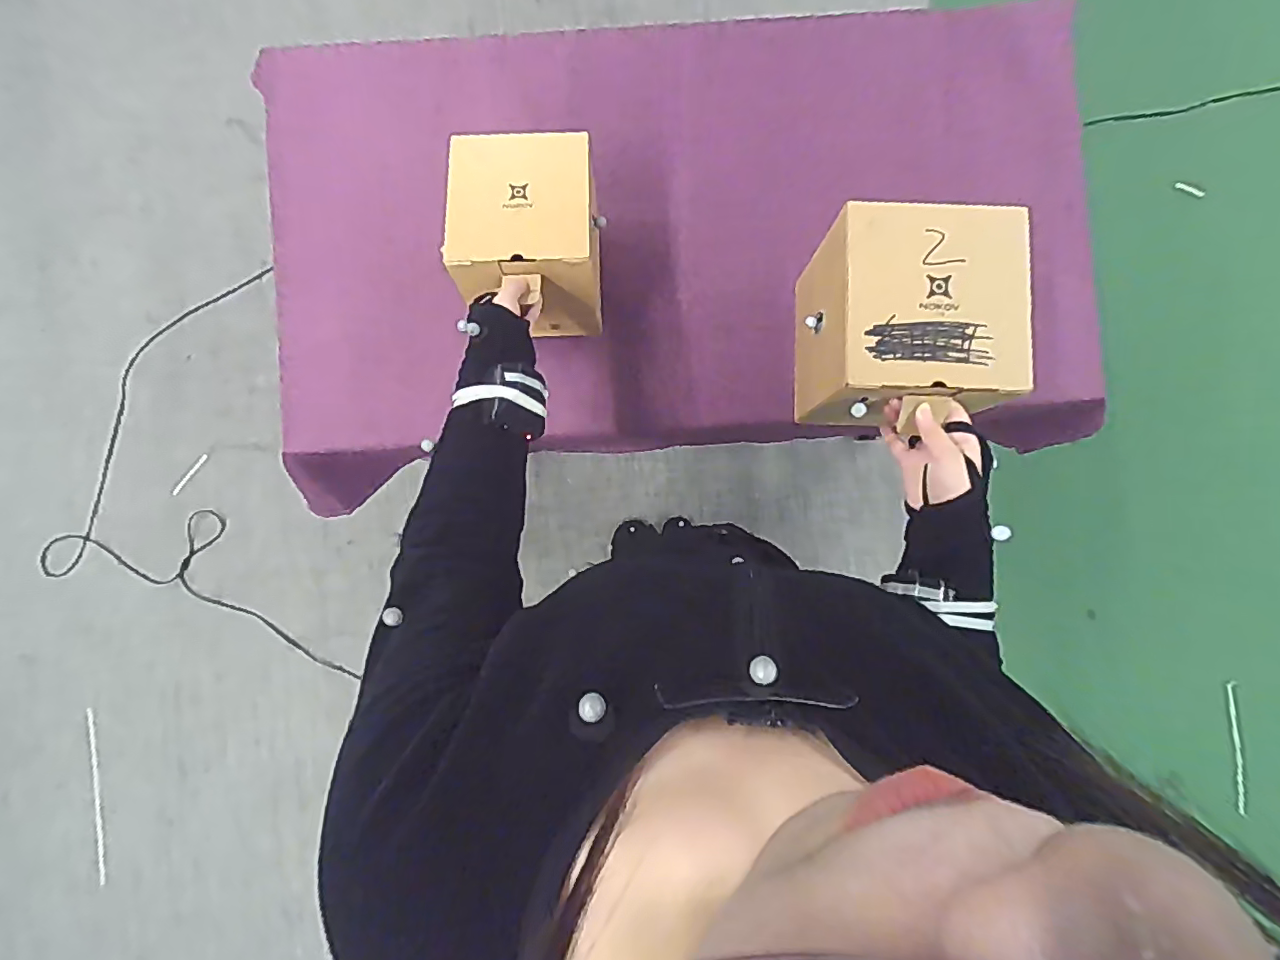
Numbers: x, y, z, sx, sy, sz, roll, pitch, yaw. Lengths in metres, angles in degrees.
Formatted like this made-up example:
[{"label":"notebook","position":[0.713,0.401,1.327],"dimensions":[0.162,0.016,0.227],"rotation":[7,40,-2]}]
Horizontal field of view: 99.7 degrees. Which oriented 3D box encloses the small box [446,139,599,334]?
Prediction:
[{"label":"small box","position":[-0.143,-0.312,0.715],"dimensions":[0.168,0.176,0.179],"rotation":[-2,78,-1]}]
